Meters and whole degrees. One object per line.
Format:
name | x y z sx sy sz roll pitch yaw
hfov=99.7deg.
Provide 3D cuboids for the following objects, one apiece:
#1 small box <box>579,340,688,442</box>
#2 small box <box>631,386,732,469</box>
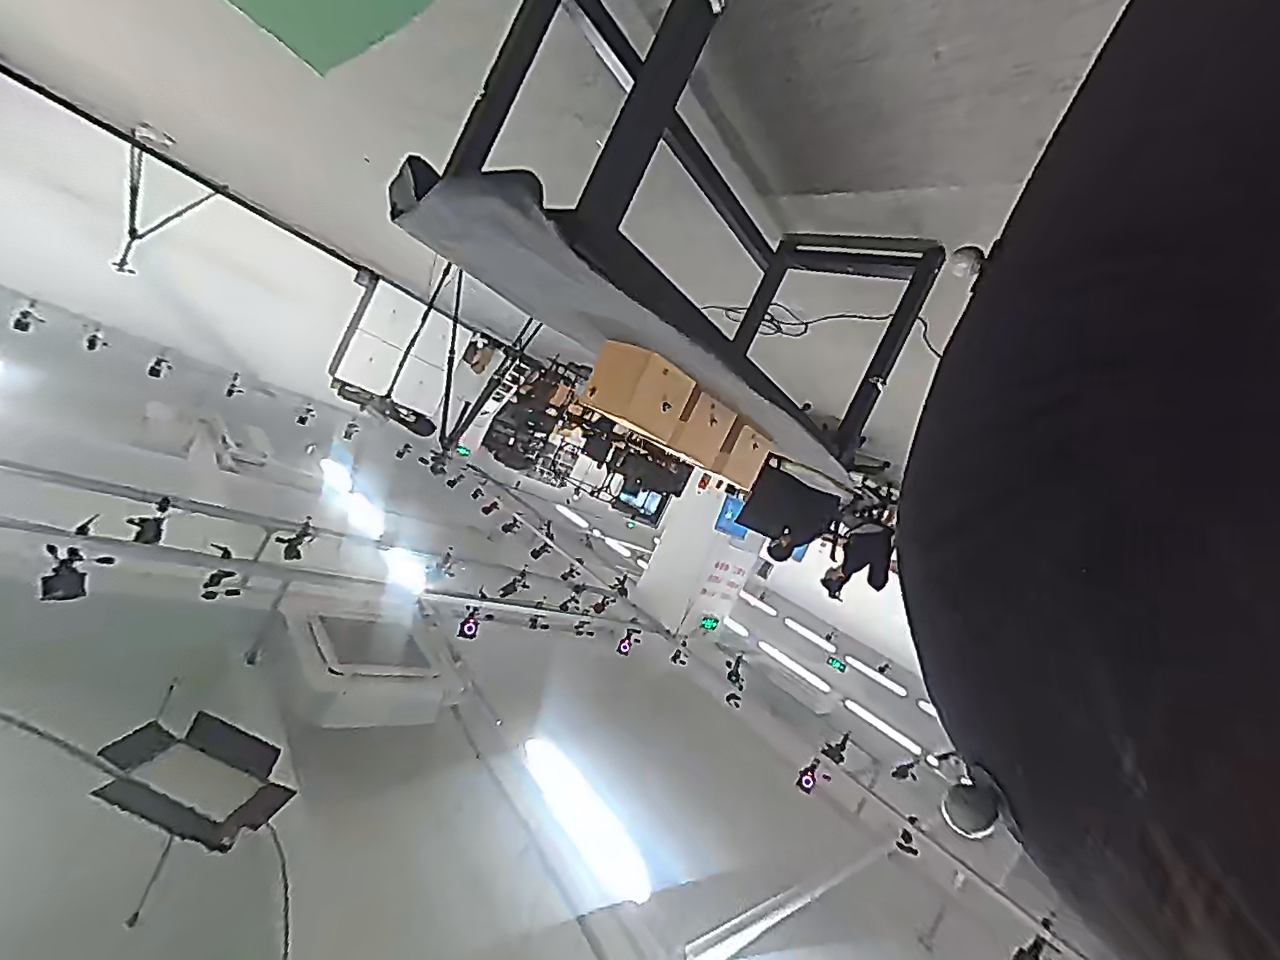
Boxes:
small box | -0.008 -0.214 1.281 0.168 0.176 0.179 25 -178 -45
small box | 0.114 -0.156 1.460 0.168 0.176 0.179 24 -178 -45
